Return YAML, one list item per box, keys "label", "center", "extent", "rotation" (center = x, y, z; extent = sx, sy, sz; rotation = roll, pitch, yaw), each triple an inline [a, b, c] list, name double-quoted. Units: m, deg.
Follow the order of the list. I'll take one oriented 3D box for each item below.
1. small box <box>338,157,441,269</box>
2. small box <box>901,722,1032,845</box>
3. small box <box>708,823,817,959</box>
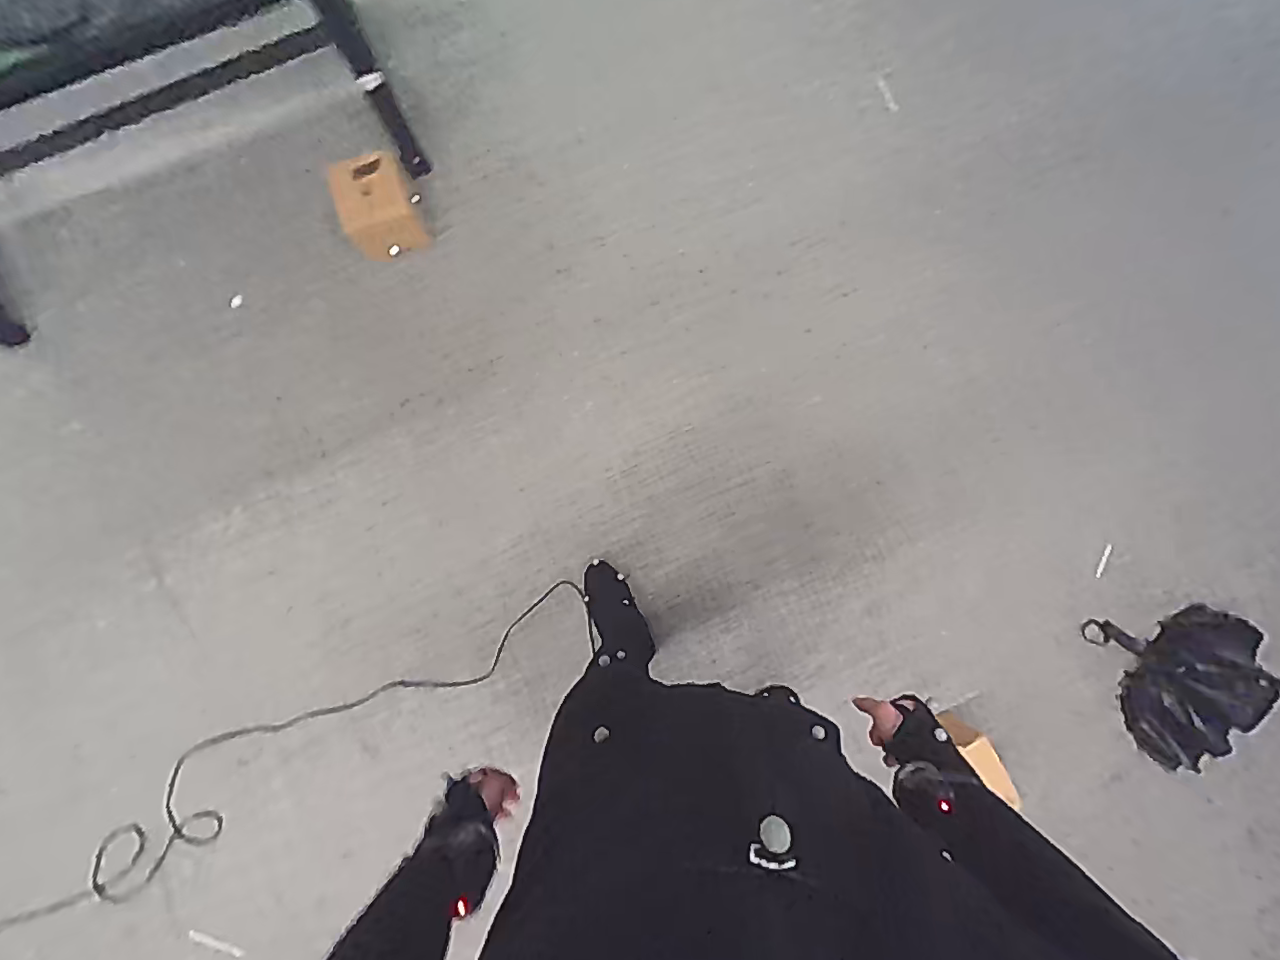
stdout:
- label: "small box"
  center: [-0.639, -0.682, 1.396]
  extent: [0.168, 0.176, 0.179]
  rotation: [-18, 86, -2]
- label: "small box"
  center: [0.758, 0.700, 1.278]
  extent: [0.168, 0.176, 0.179]
  rotation: [-27, 84, -2]
- label: "small box"
  center: [0.272, 0.937, 1.251]
  extent: [0.168, 0.176, 0.179]
  rotation: [-29, 87, -2]
